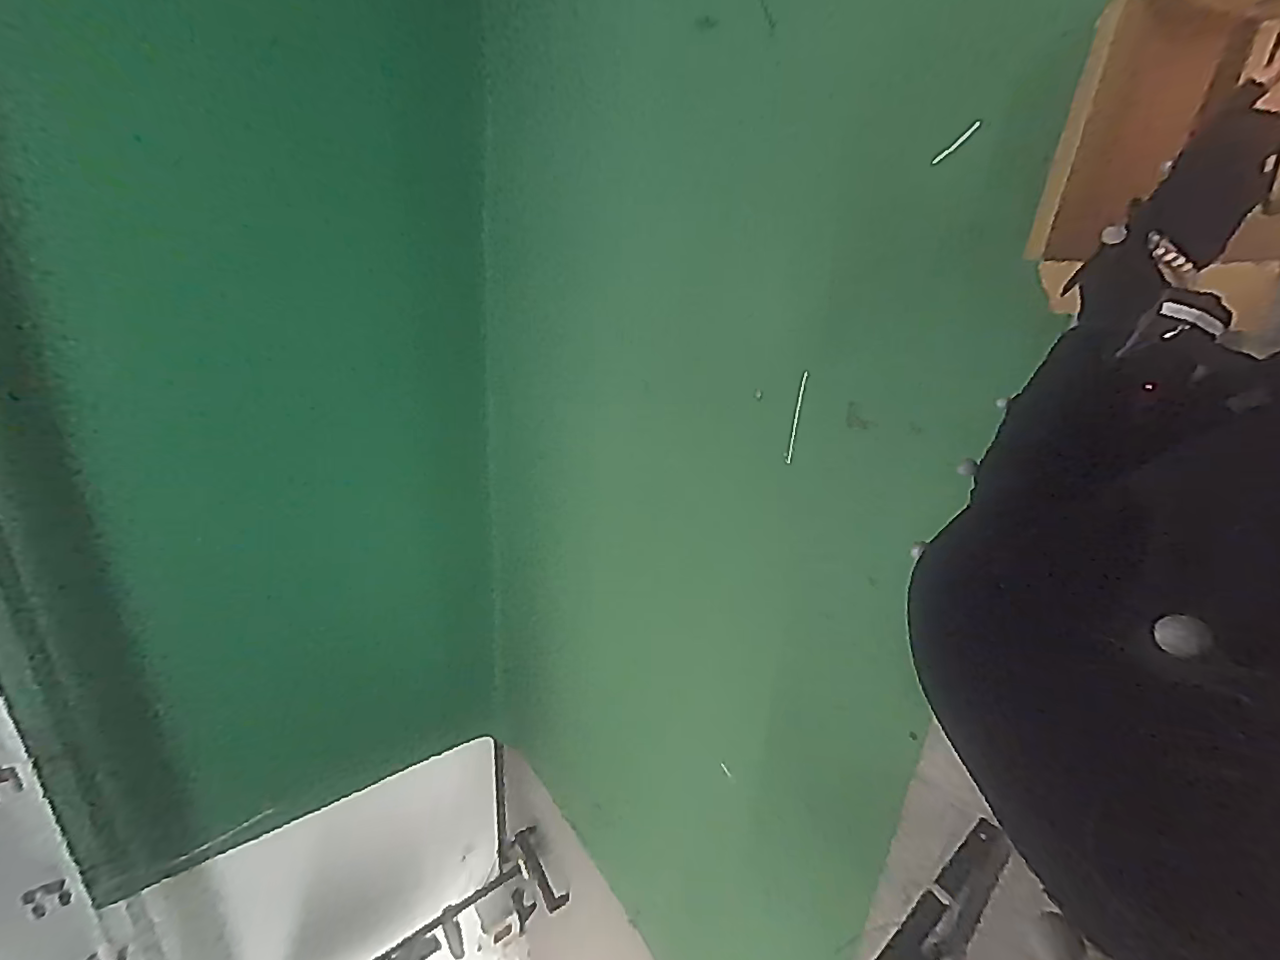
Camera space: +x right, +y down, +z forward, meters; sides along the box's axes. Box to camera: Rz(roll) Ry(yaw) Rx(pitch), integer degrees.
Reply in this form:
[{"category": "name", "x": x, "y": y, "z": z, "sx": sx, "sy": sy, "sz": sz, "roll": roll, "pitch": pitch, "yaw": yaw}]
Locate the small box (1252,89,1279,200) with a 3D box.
[{"category": "small box", "x": 0.511, "y": -0.273, "z": 0.311, "sx": 0.179, "sy": 0.176, "sz": 0.168, "roll": 16, "pitch": 111, "yaw": 42}]
